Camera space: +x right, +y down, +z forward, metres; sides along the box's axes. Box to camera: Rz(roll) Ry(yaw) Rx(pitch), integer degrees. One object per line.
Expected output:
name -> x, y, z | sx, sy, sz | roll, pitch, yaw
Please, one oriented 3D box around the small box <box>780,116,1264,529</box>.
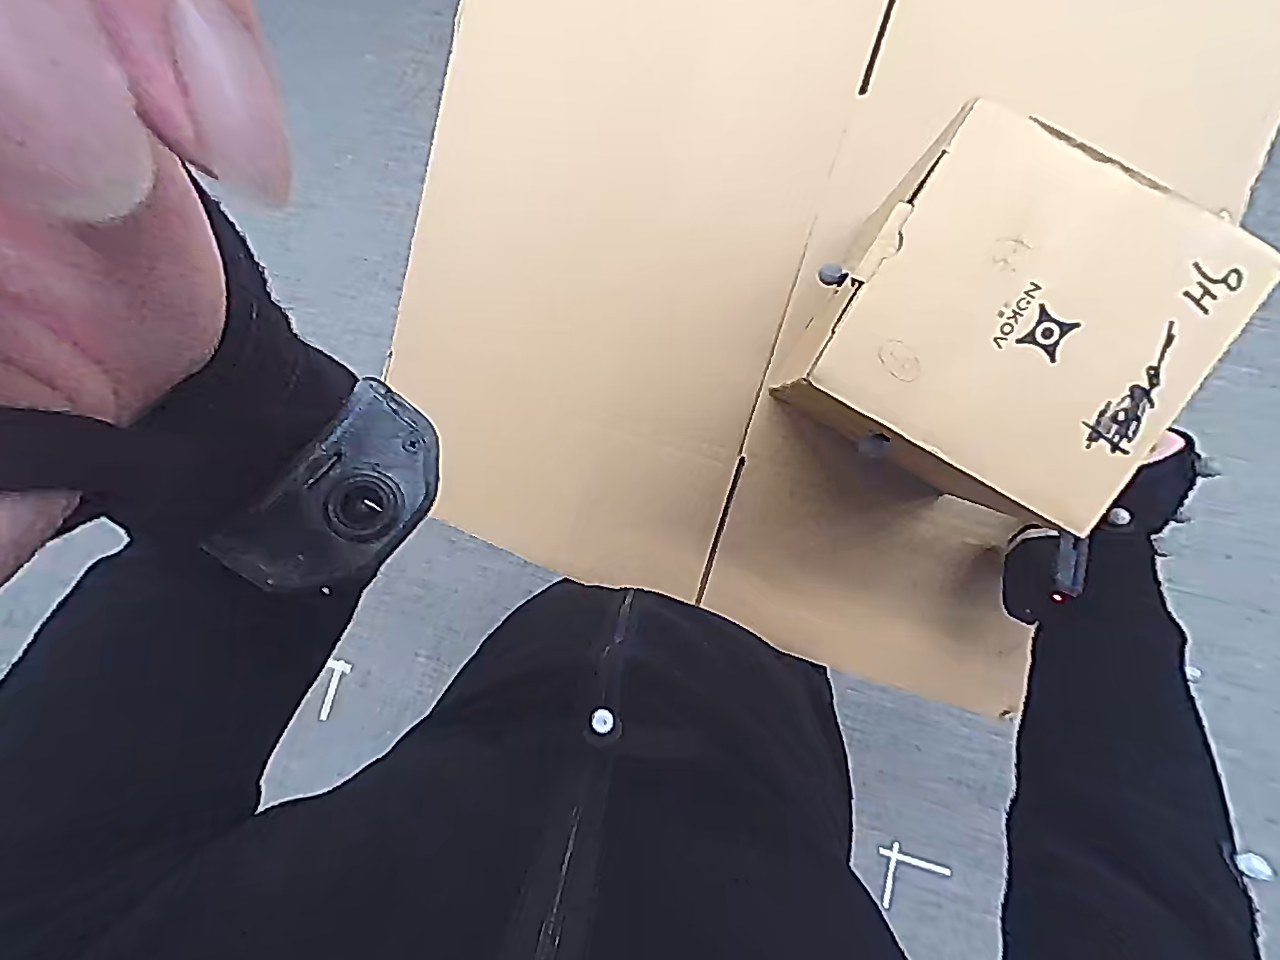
small box -> 0.216, -0.090, 0.372 | 0.179, 0.176, 0.168 | 31, 100, 3
